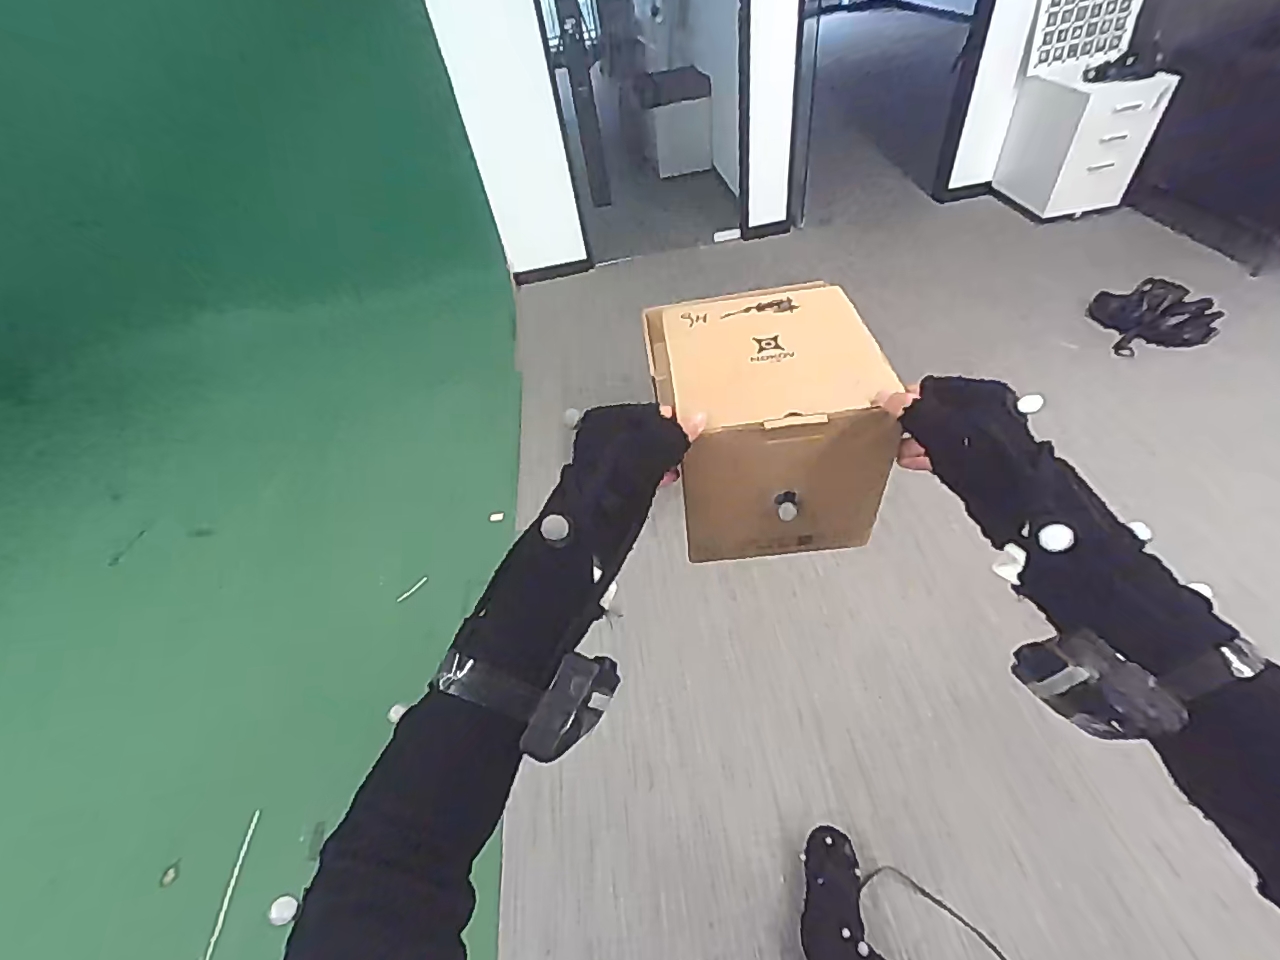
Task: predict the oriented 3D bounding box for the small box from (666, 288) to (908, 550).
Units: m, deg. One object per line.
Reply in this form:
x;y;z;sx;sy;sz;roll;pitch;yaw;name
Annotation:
0.118;-0.049;0.499;0.168;0.176;0.179;-6;47;3;small box
